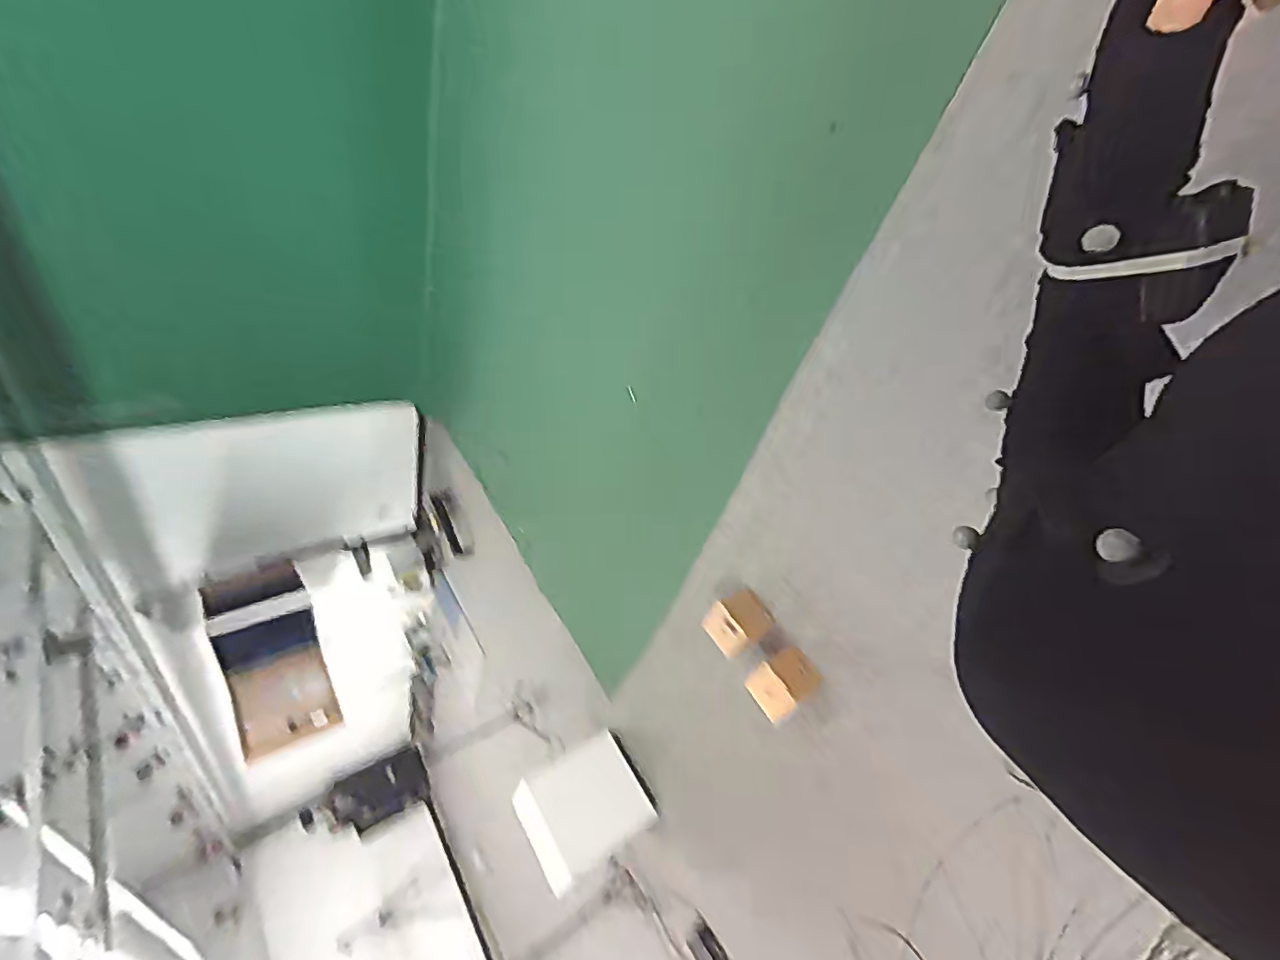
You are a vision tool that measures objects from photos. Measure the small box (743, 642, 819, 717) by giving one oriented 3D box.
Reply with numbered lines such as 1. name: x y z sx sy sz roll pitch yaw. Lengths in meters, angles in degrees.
1. small box: 0.518 0.724 1.971 0.168 0.176 0.179 52 137 29

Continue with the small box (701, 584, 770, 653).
1. small box: 0.374 0.531 2.092 0.168 0.176 0.179 51 138 29
